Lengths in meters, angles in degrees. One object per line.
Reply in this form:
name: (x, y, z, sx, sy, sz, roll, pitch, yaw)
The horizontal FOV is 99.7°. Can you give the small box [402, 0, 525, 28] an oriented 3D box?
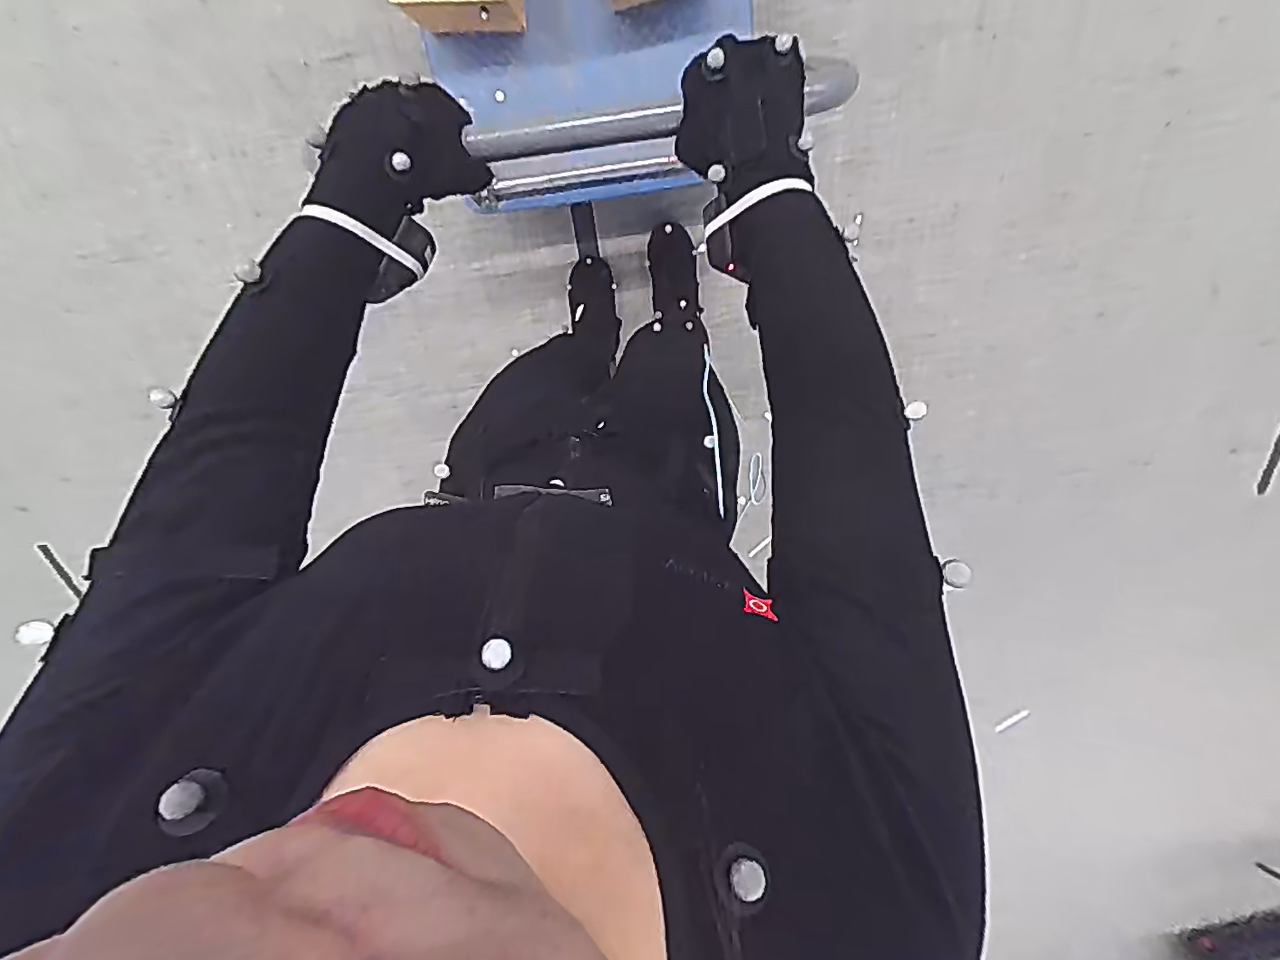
small box: (-0.286, -0.824, 0.835, 0.179, 0.176, 0.168, -2, 118, -1)
